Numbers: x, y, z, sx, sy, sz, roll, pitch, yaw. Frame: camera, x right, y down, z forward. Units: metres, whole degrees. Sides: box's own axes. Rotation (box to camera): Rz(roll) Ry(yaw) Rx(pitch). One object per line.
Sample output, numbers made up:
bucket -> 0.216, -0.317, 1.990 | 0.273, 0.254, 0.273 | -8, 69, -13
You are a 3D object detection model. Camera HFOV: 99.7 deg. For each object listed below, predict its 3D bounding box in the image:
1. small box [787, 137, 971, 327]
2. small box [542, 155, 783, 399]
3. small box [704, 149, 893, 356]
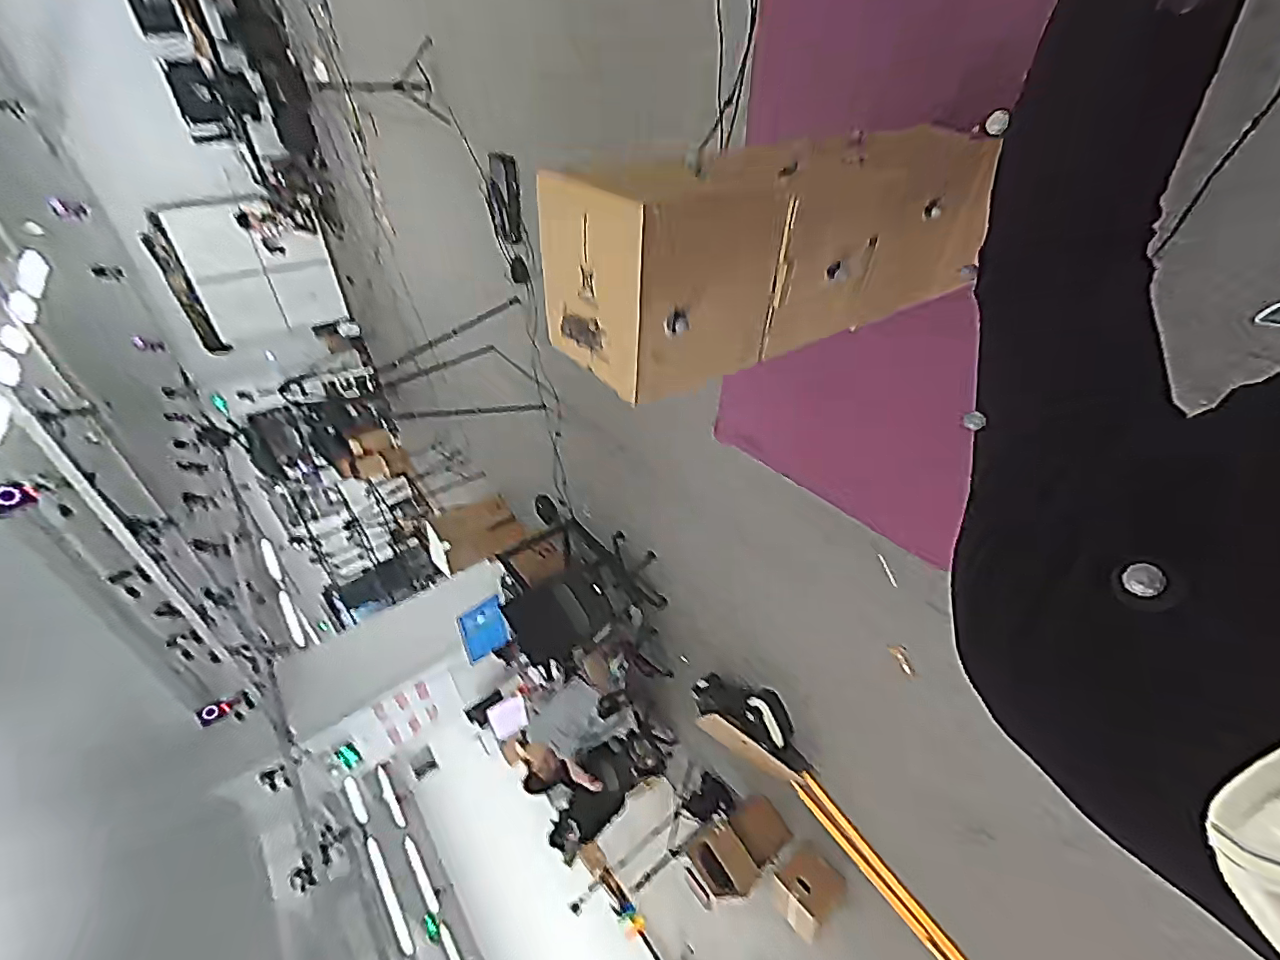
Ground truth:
small box -> 0.286, -0.327, 0.697 | 0.168, 0.176, 0.179 | 42, 144, 35
small box -> 0.019, -0.211, 0.544 | 0.168, 0.176, 0.179 | 41, 142, 37
small box -> 0.152, -0.271, 0.622 | 0.179, 0.176, 0.168 | 41, 143, 35
